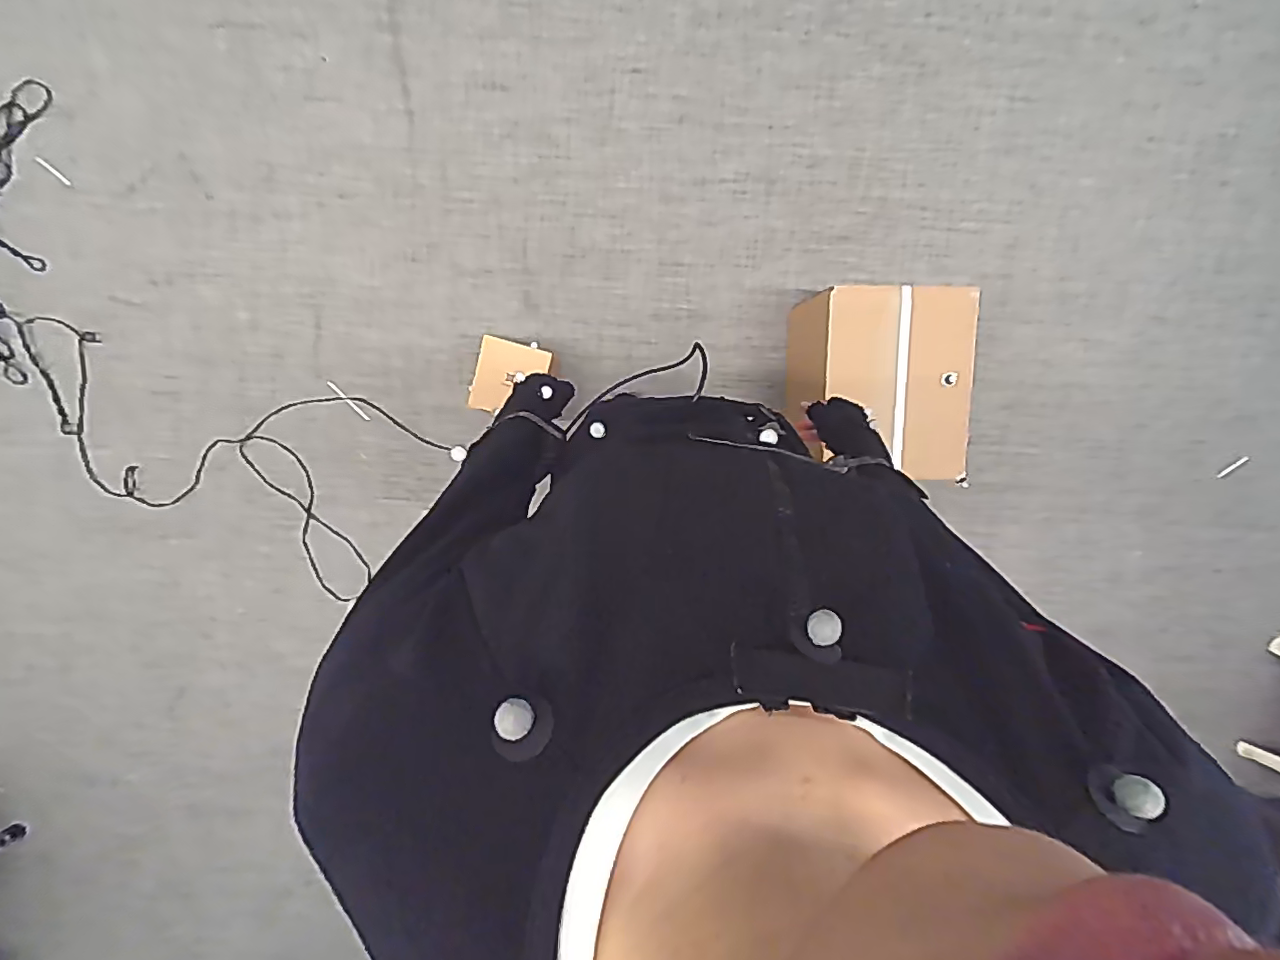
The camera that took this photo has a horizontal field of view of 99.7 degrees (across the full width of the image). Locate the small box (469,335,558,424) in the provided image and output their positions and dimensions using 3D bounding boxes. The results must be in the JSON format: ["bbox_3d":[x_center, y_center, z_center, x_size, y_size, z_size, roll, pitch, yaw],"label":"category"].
[{"bbox_3d":[-0.309,-0.250,1.355,0.168,0.176,0.179,15,100,-3],"label":"small box"}]
